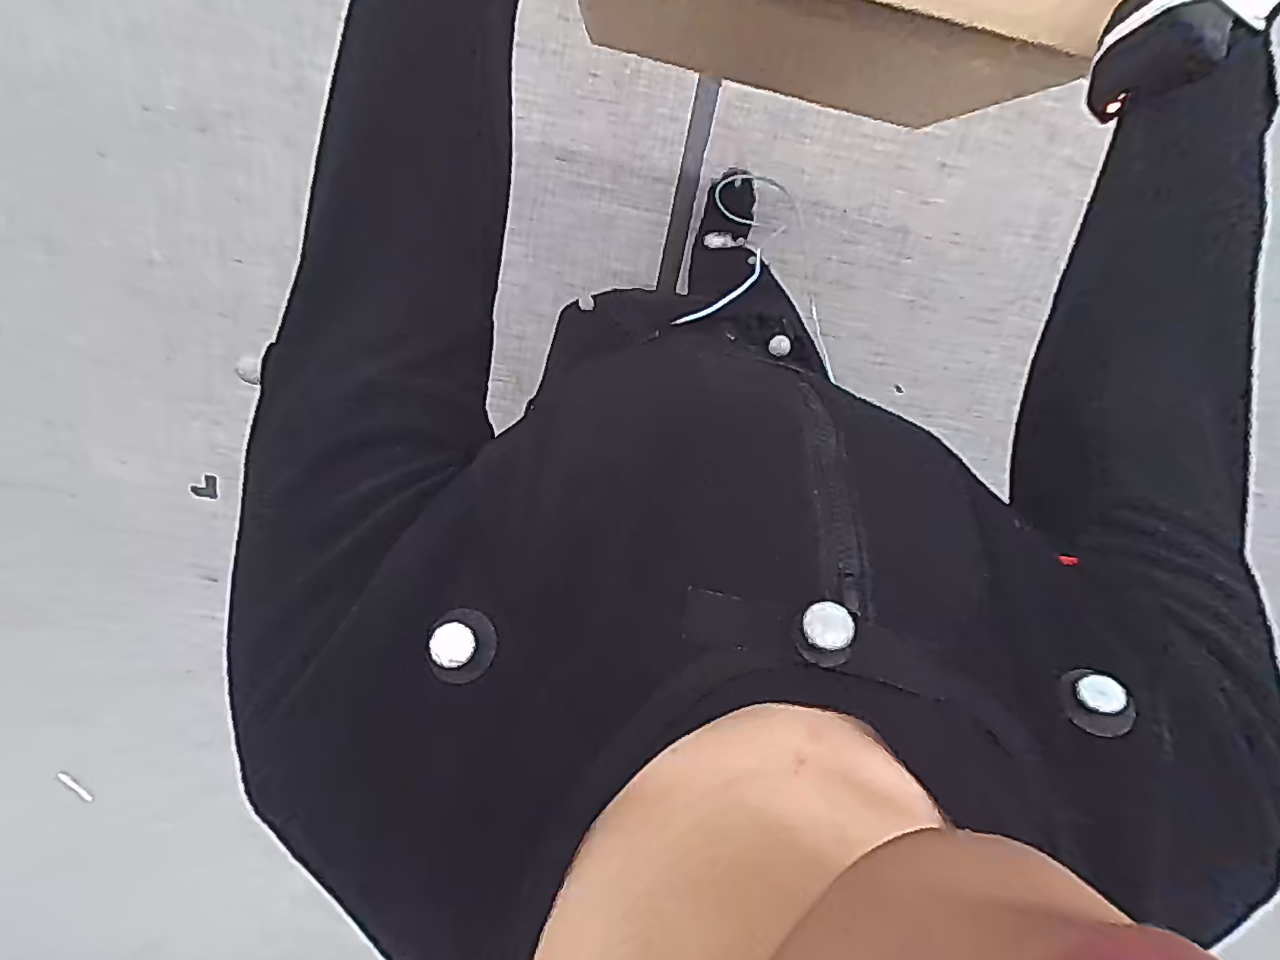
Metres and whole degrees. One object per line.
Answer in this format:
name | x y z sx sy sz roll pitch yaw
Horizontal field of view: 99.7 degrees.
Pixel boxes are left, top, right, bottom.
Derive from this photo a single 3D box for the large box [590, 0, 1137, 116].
large box | 0.172 -0.539 0.436 0.408 0.320 0.320 11 117 -6
